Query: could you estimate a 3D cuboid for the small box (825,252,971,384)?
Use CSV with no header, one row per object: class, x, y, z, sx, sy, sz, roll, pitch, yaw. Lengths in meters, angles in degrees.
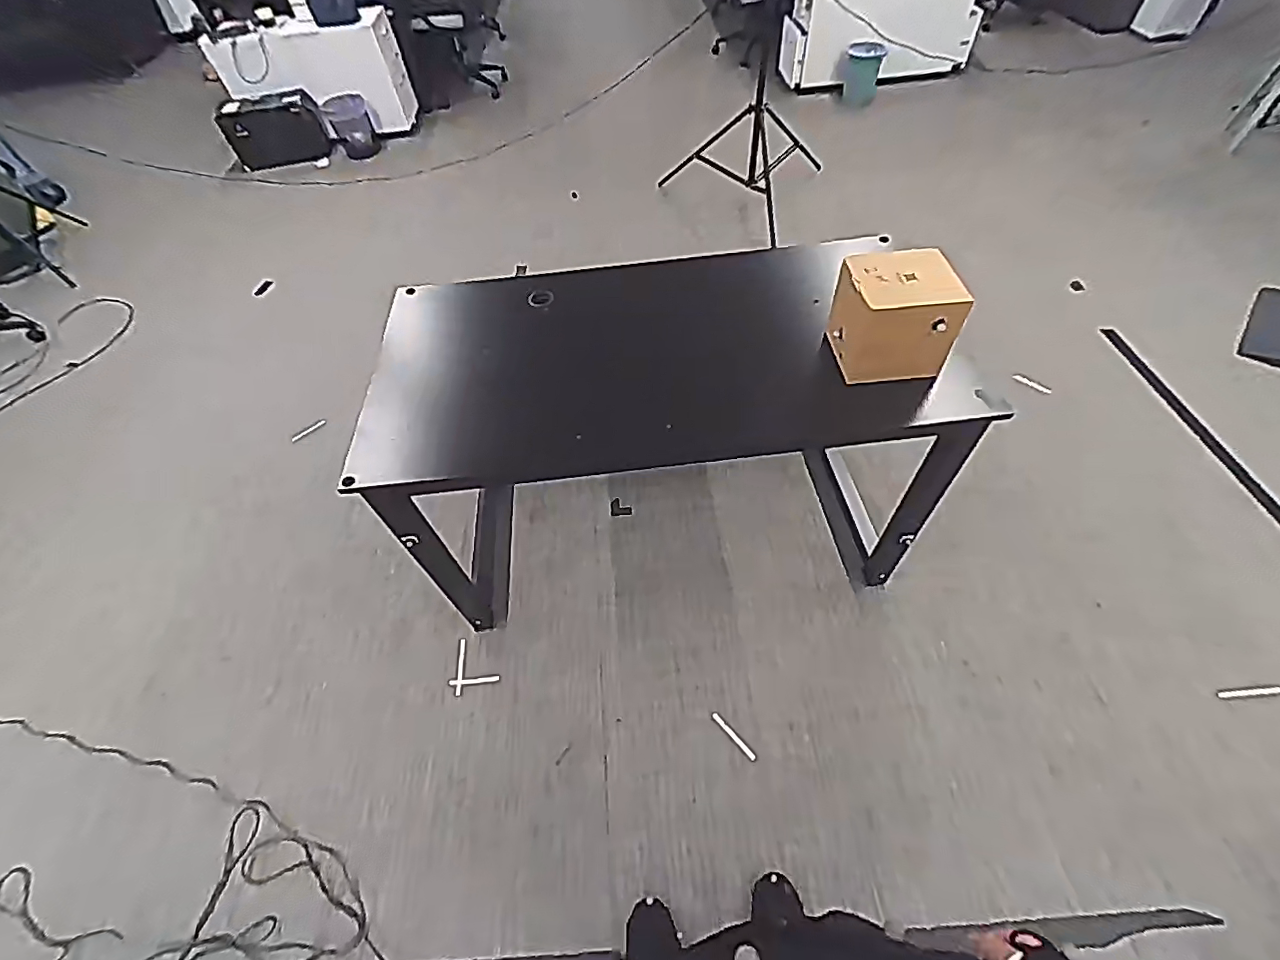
small box,0.465,-0.297,1.007,0.179,0.176,0.168,-5,52,2
